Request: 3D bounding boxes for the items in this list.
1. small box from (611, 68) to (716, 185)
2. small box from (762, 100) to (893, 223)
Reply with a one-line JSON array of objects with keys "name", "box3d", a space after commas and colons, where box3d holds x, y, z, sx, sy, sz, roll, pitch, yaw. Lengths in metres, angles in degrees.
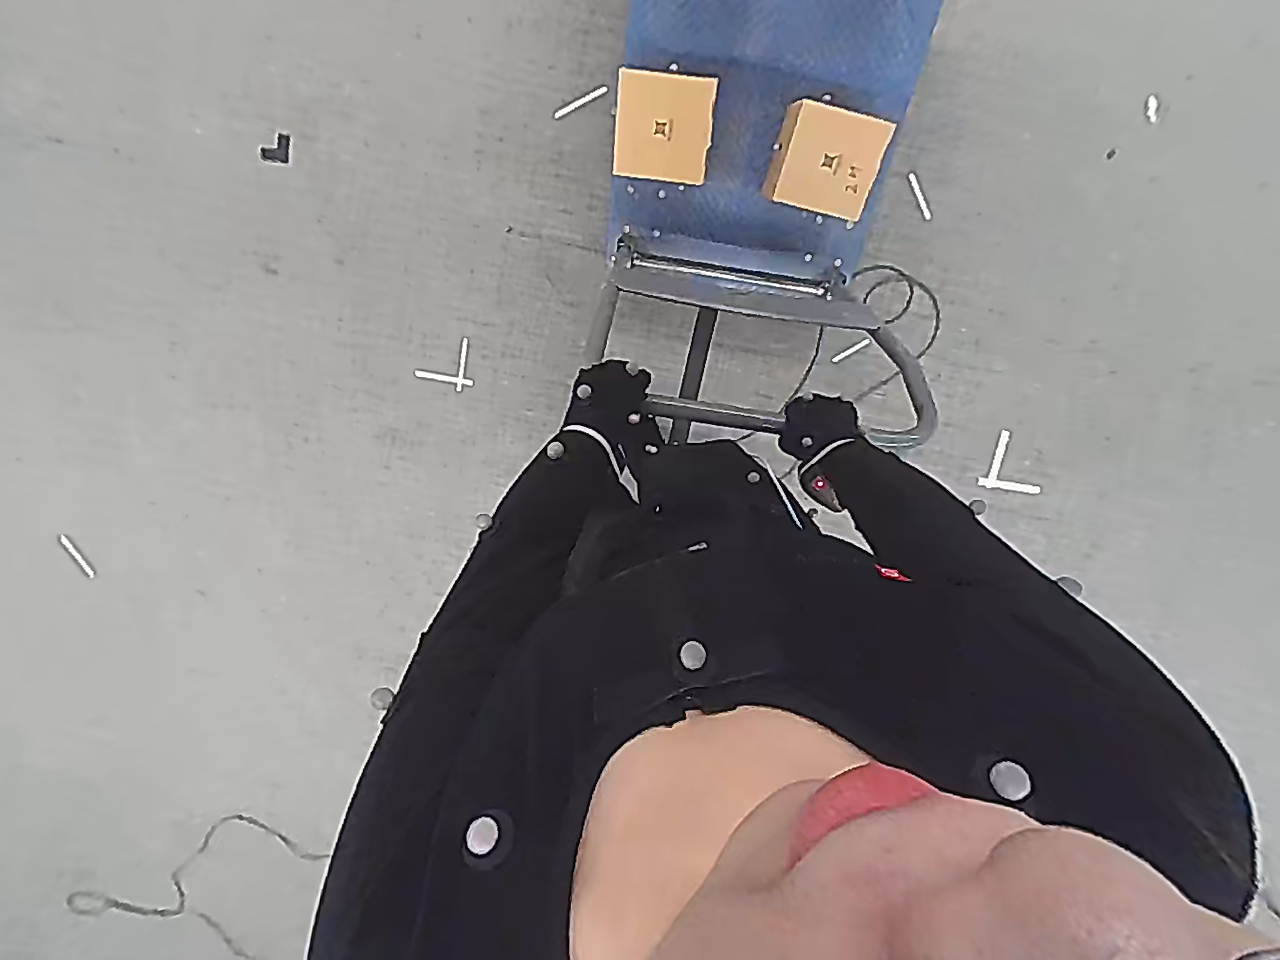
[{"name": "small box", "box3d": [0.042, -0.677, 1.049, 0.179, 0.176, 0.168, 5, 121, -2]}, {"name": "small box", "box3d": [0.354, -0.622, 1.065, 0.179, 0.176, 0.168, 13, 121, -4]}]
